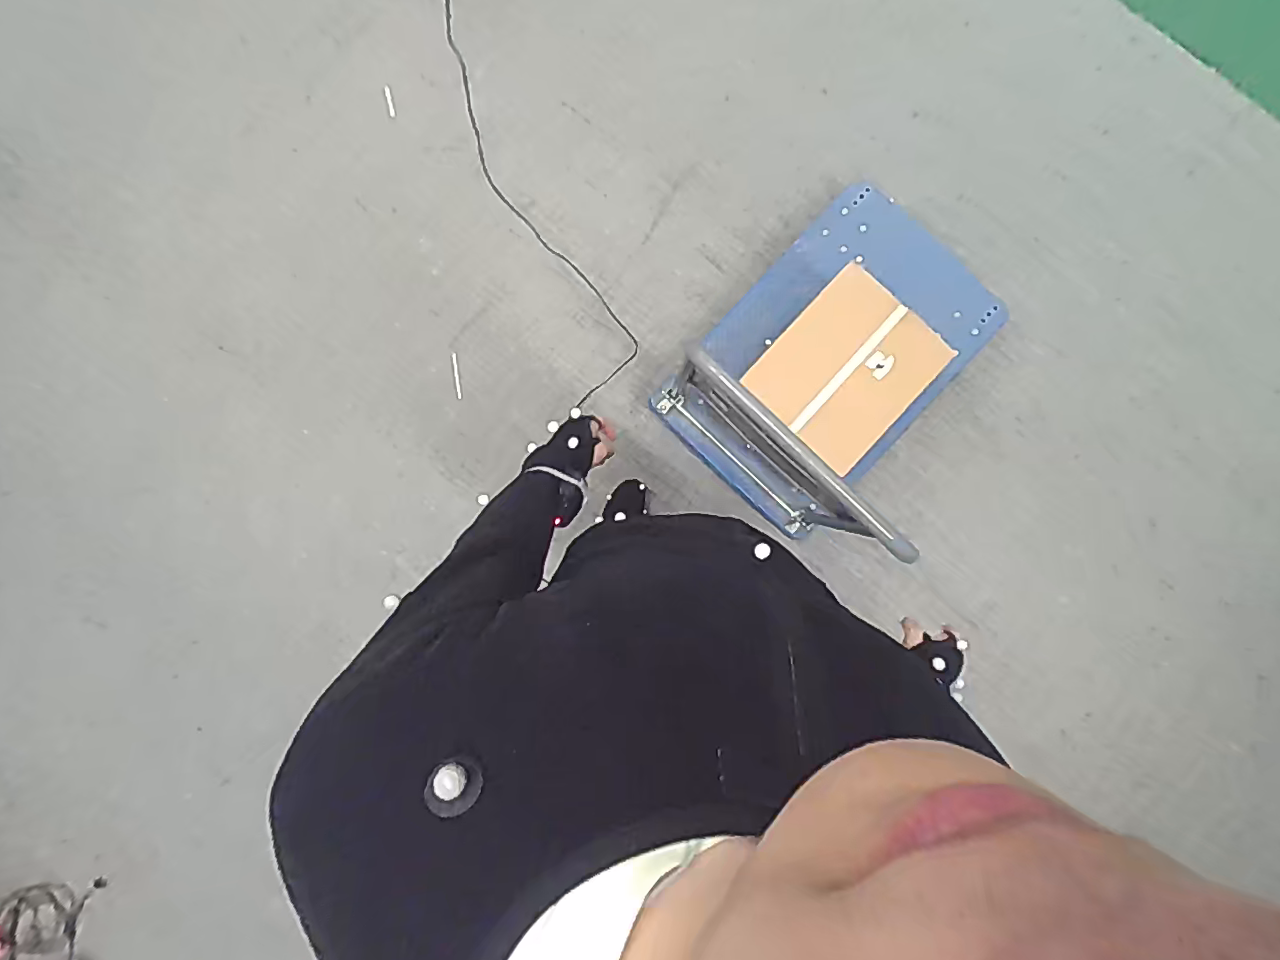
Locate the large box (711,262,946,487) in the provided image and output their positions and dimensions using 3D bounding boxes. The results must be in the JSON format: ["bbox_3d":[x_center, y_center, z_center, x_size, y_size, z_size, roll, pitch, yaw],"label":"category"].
[{"bbox_3d":[0.432,-0.230,1.335,0.320,0.320,0.408,43,88,0],"label":"large box"}]
